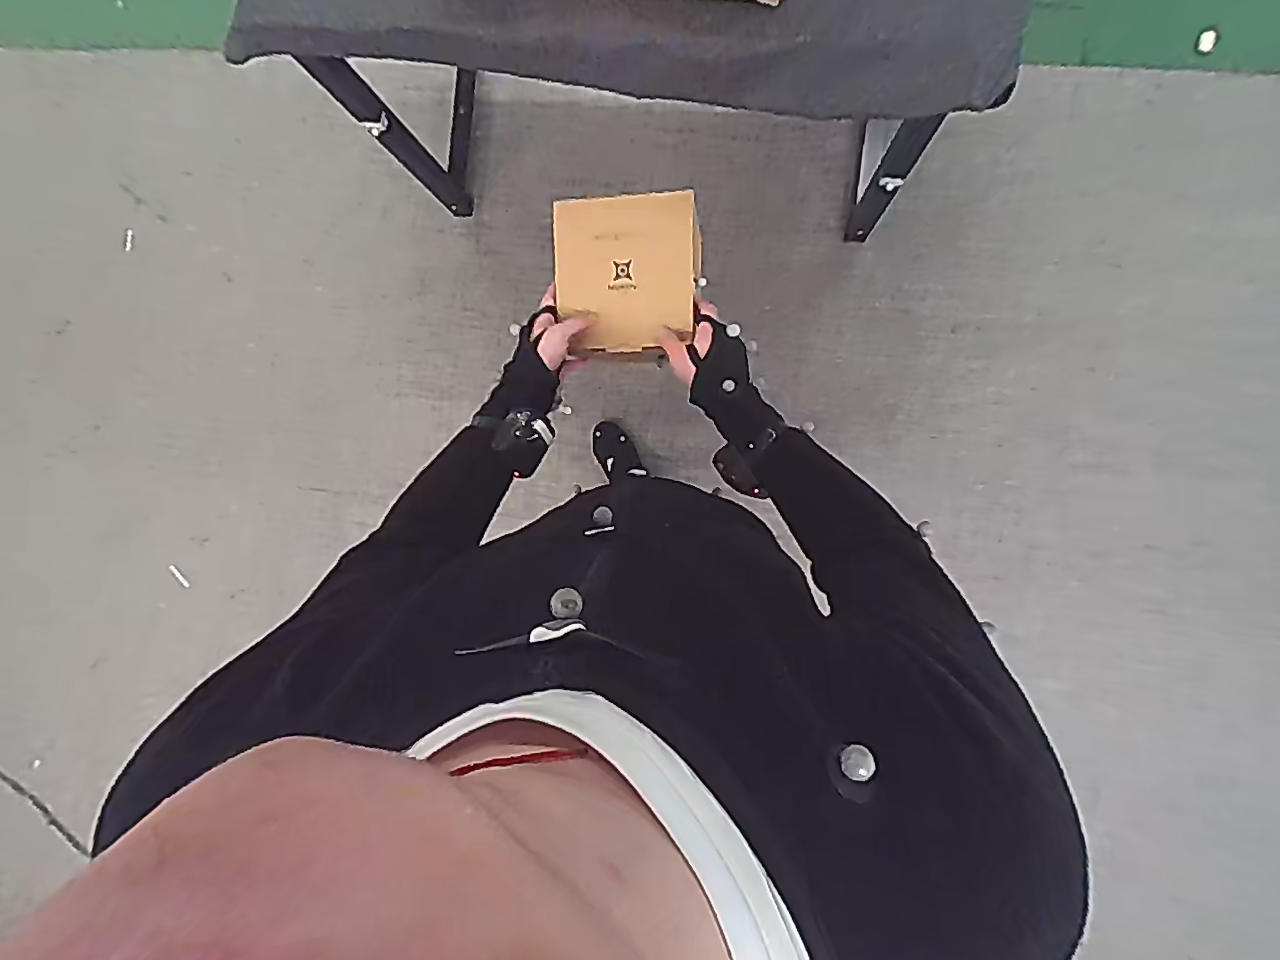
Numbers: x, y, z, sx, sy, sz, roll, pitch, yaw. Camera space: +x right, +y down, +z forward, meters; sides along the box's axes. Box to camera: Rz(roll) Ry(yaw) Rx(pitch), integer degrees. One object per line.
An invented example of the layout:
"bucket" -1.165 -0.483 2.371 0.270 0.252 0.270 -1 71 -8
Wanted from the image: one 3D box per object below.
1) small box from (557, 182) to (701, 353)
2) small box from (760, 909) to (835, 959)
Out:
"small box" -0.005 -0.259 0.702 0.168 0.176 0.179 0 98 7
"small box" 0.435 1.352 1.508 0.168 0.176 0.179 5 94 4
